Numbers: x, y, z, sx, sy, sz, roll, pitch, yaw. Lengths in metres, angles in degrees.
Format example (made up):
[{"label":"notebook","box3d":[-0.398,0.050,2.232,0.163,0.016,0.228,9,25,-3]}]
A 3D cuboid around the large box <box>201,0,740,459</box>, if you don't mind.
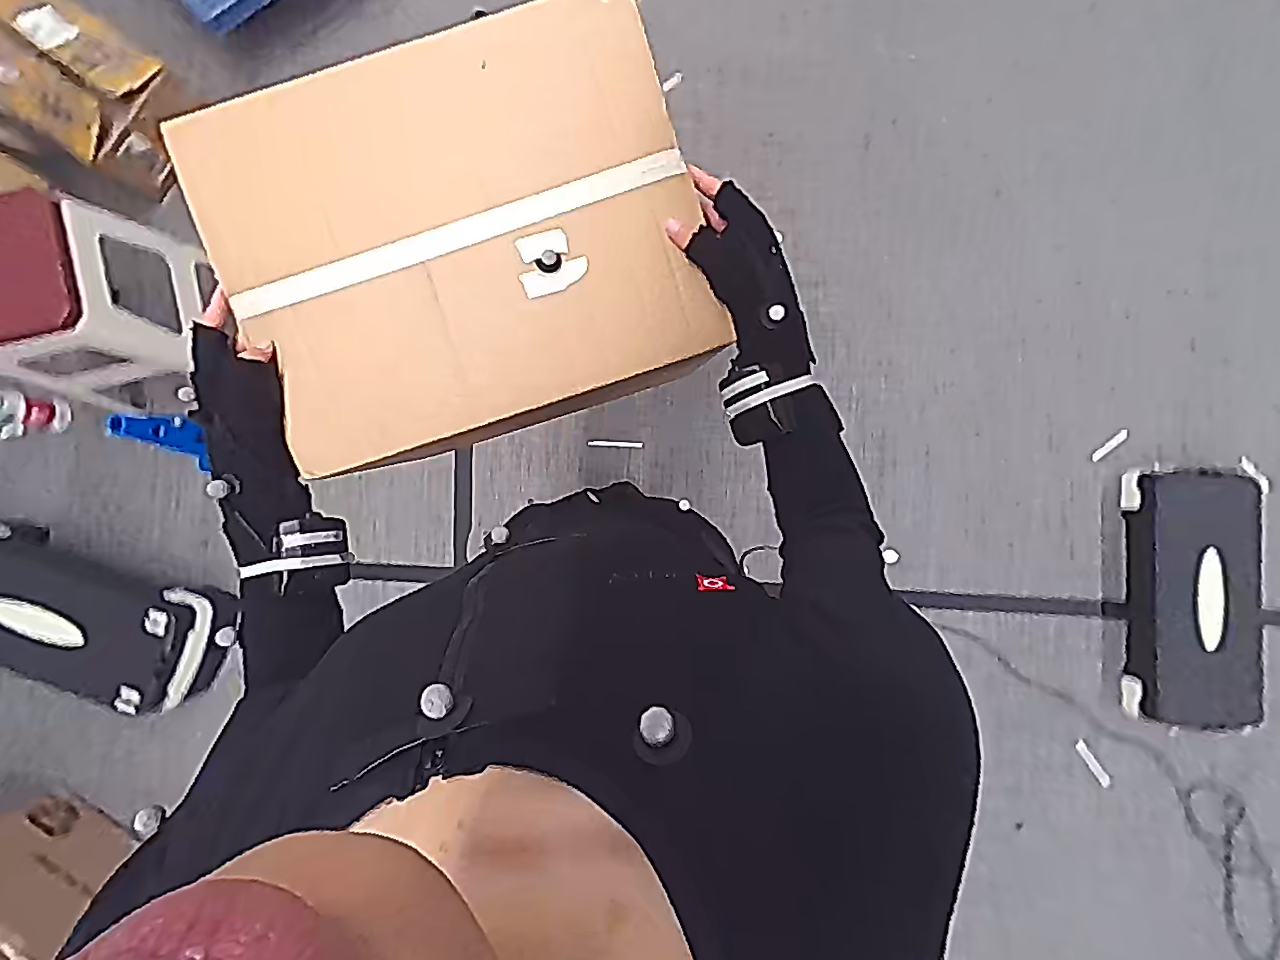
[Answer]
[{"label":"large box","box3d":[-0.147,-0.235,0.619,0.408,0.320,0.320,-17,97,0]}]
